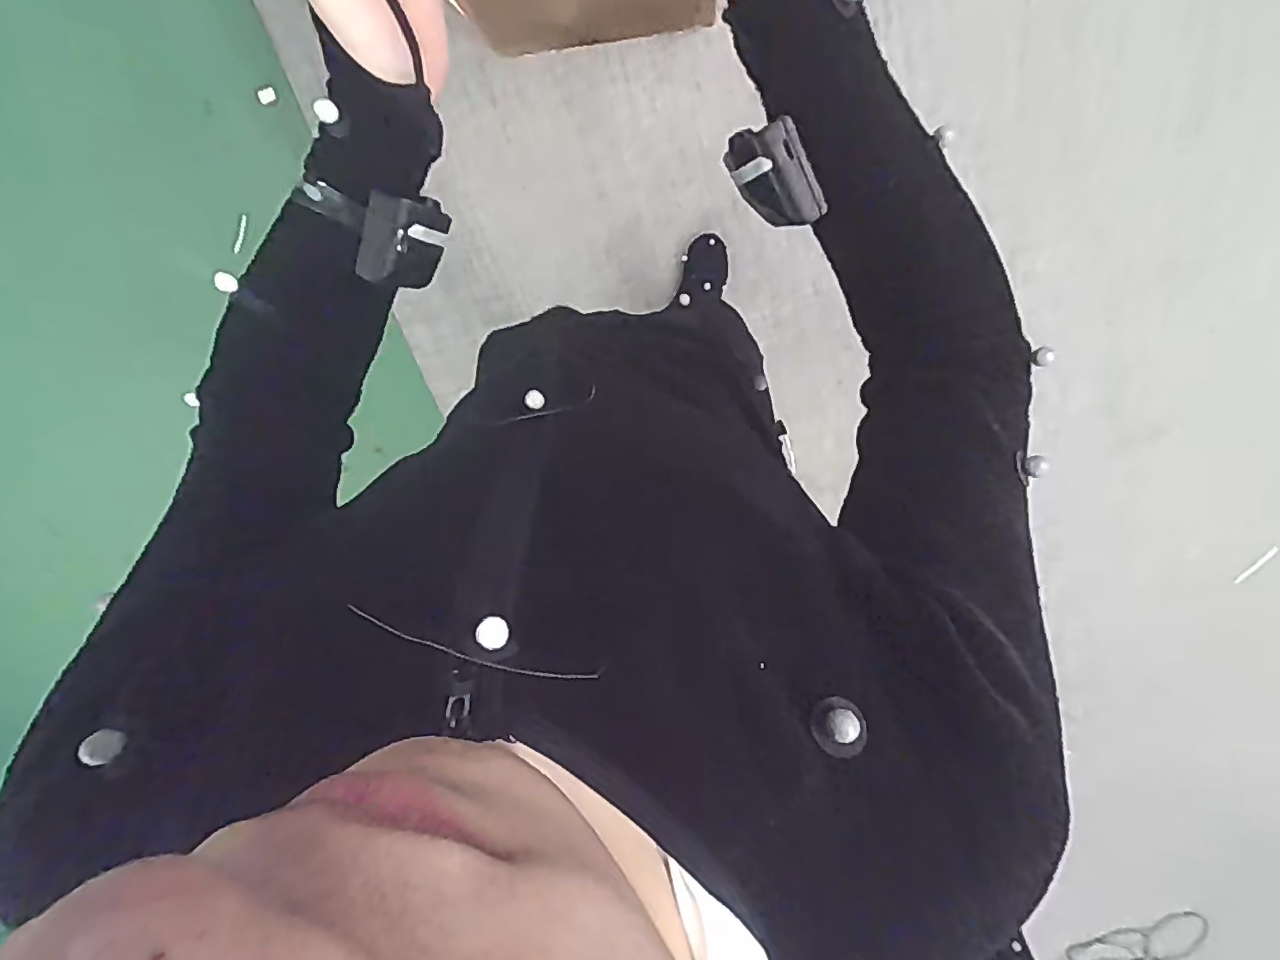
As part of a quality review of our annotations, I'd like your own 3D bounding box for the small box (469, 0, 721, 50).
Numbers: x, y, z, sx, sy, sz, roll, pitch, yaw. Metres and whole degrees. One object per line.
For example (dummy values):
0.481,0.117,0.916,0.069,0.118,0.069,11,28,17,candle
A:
-0.042,-0.396,0.320,0.179,0.176,0.168,-1,102,9,small box
